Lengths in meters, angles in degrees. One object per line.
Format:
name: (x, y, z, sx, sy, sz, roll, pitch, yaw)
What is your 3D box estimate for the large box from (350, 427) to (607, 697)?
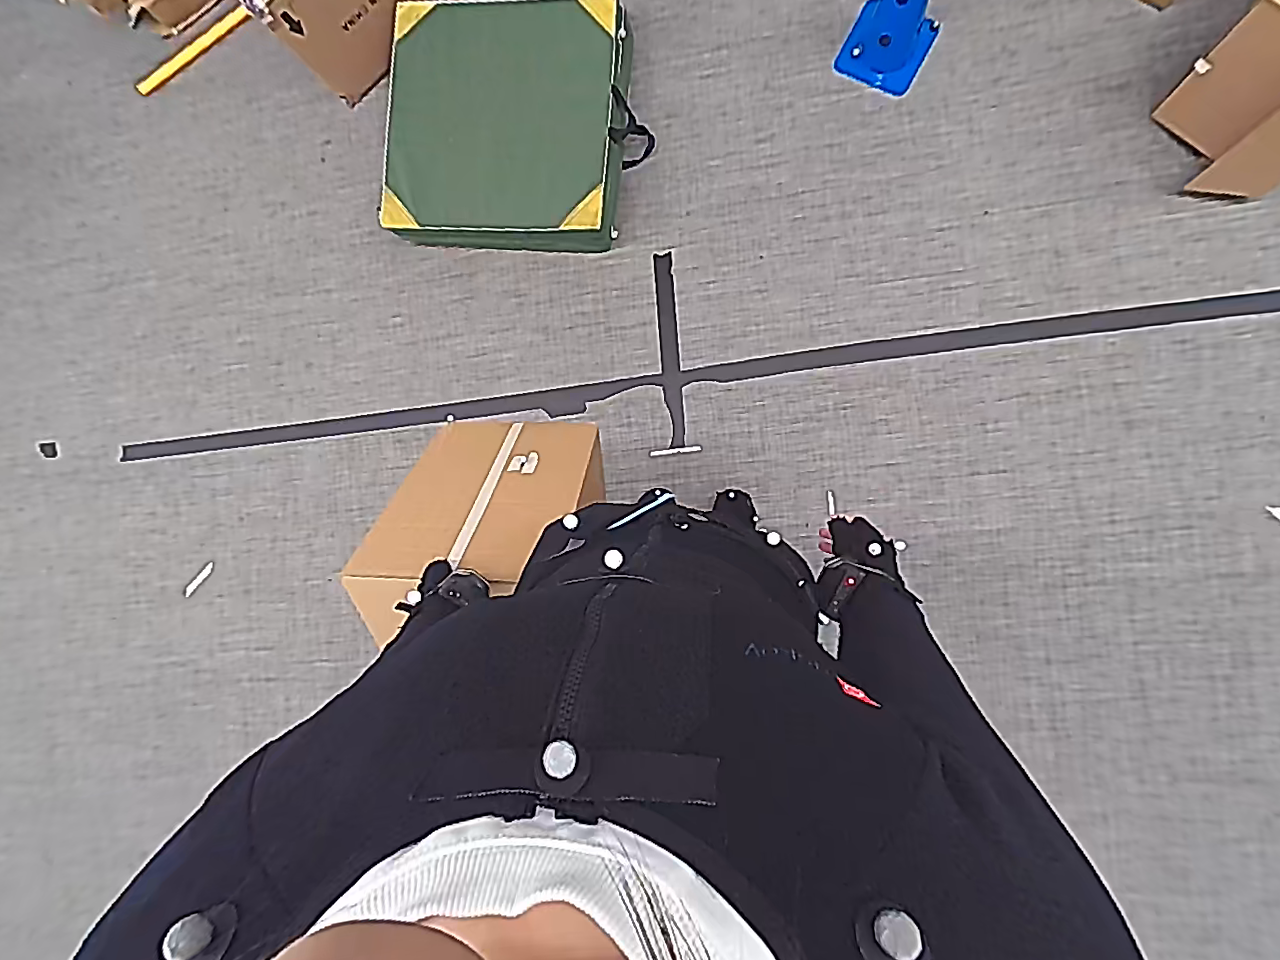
large box: (-0.249, 0.140, 1.012, 0.320, 0.408, 0.320, 2, 128, 6)
